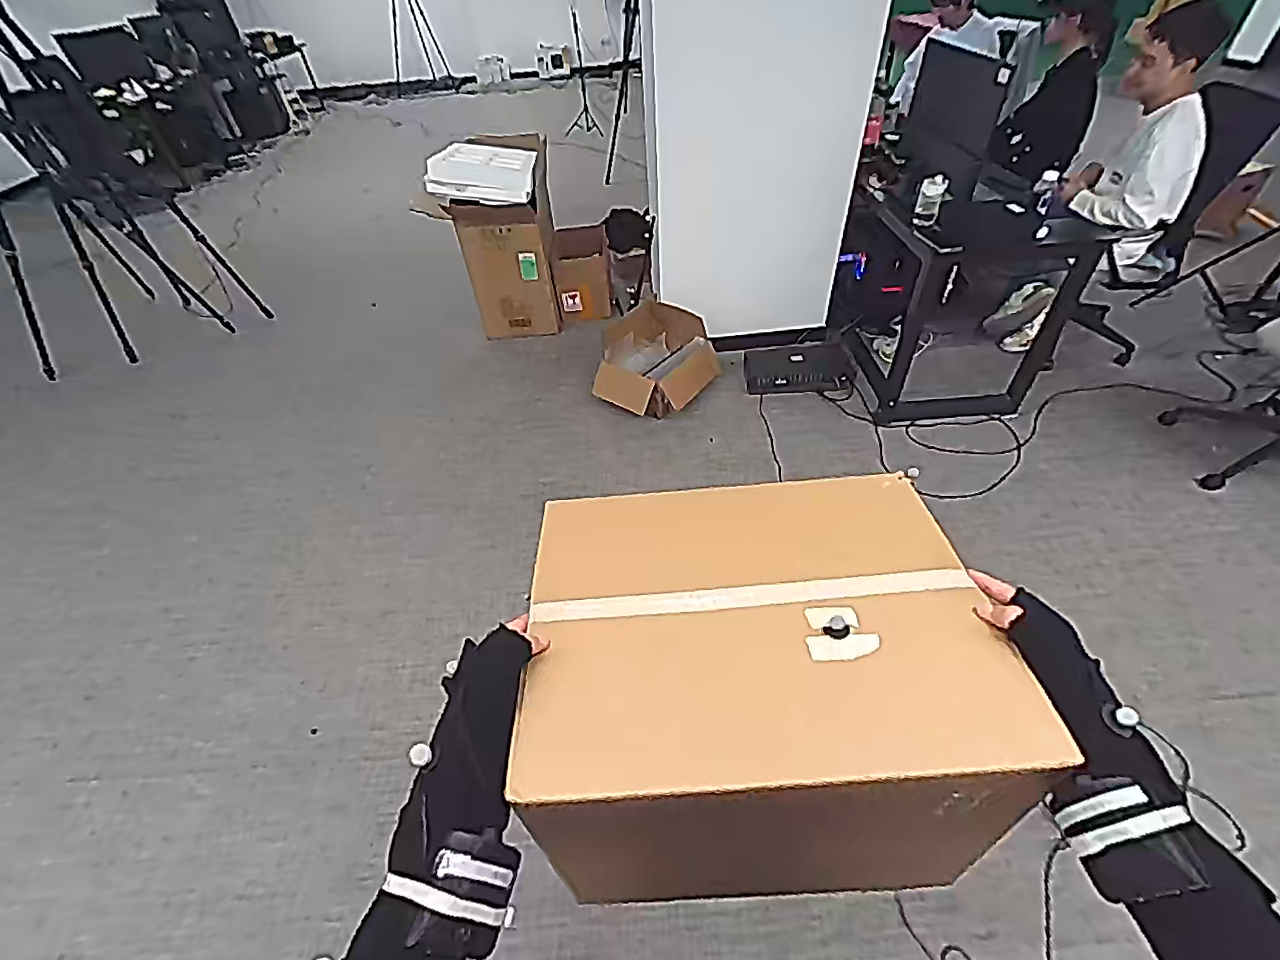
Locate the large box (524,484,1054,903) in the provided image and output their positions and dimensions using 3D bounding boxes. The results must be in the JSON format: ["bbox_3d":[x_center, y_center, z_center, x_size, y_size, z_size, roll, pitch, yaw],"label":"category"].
[{"bbox_3d":[0.113,0.233,0.606,0.408,0.320,0.320,-5,41,2],"label":"large box"}]
